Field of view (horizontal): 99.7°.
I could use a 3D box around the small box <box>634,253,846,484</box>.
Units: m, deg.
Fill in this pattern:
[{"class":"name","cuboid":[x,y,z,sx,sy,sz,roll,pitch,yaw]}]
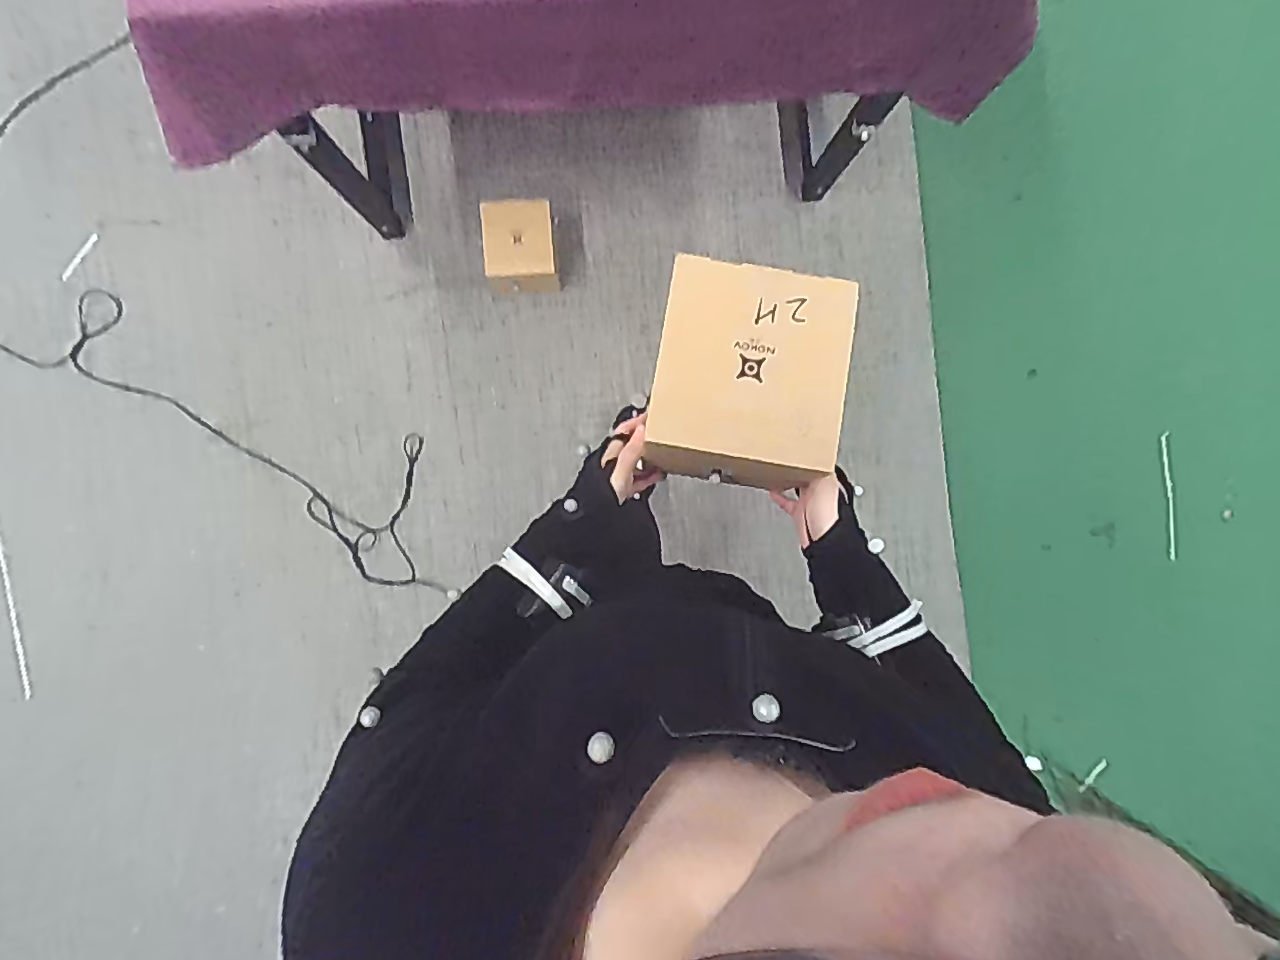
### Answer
[{"class":"small box","cuboid":[0.091,-0.099,0.562,0.168,0.176,0.179,11,83,1]}]
